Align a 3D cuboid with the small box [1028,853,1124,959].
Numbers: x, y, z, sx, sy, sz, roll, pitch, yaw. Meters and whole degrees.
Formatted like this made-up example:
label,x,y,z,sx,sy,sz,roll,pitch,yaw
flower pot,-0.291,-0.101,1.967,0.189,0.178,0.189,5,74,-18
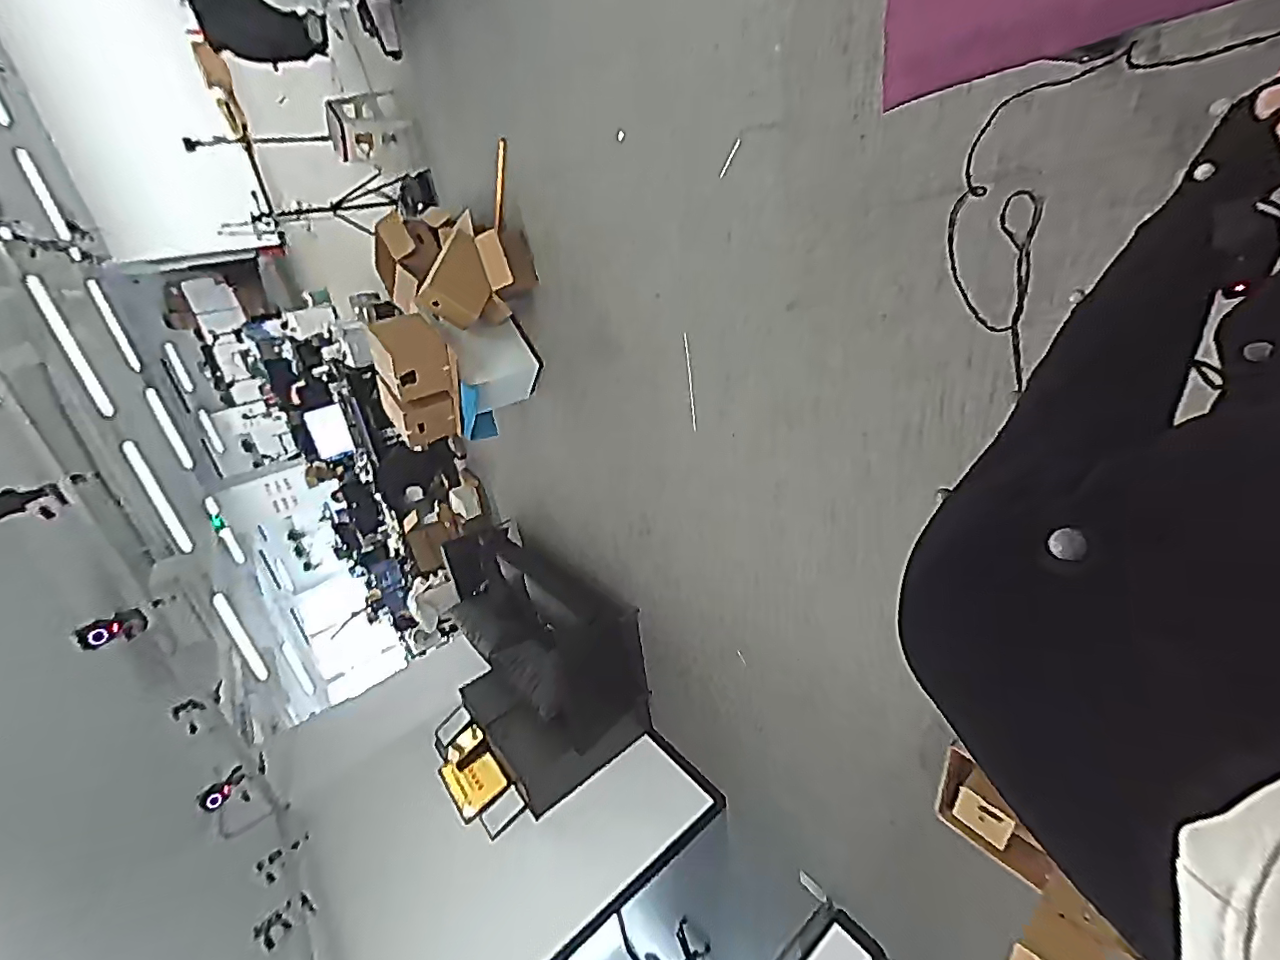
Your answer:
label,x,y,z,sx,sy,sz,roll,pitch,yaw
small box,1.262,1.245,1.566,0.168,0.176,0.179,22,129,47
